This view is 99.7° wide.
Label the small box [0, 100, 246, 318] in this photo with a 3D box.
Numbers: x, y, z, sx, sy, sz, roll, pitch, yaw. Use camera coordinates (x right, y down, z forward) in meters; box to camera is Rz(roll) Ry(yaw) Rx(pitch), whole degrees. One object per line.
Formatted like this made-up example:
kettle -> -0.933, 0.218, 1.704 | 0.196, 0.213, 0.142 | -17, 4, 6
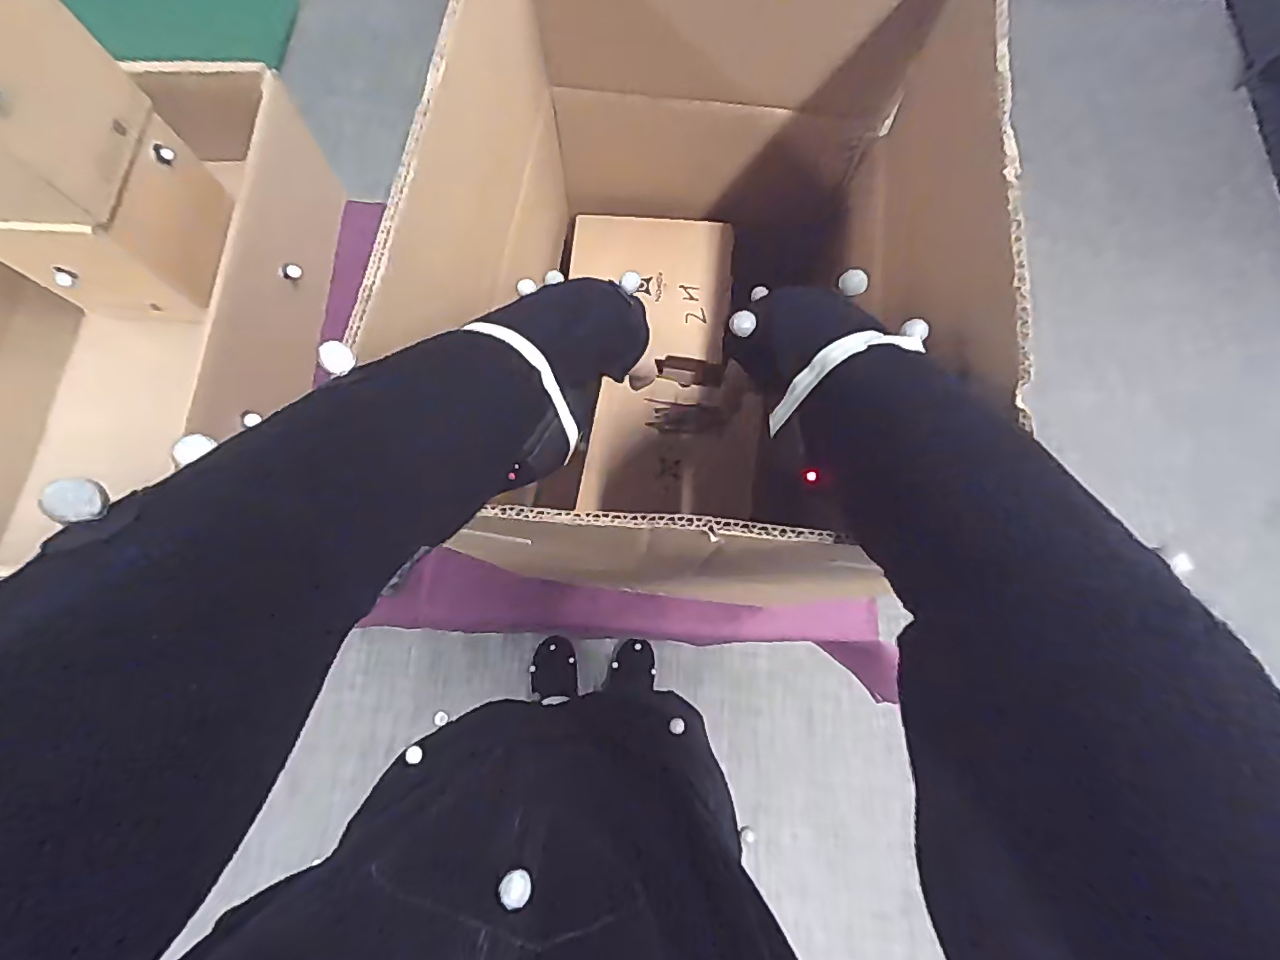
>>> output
small box -> -0.626, -0.315, 0.654 | 0.168, 0.176, 0.179 | 3, 74, 2
